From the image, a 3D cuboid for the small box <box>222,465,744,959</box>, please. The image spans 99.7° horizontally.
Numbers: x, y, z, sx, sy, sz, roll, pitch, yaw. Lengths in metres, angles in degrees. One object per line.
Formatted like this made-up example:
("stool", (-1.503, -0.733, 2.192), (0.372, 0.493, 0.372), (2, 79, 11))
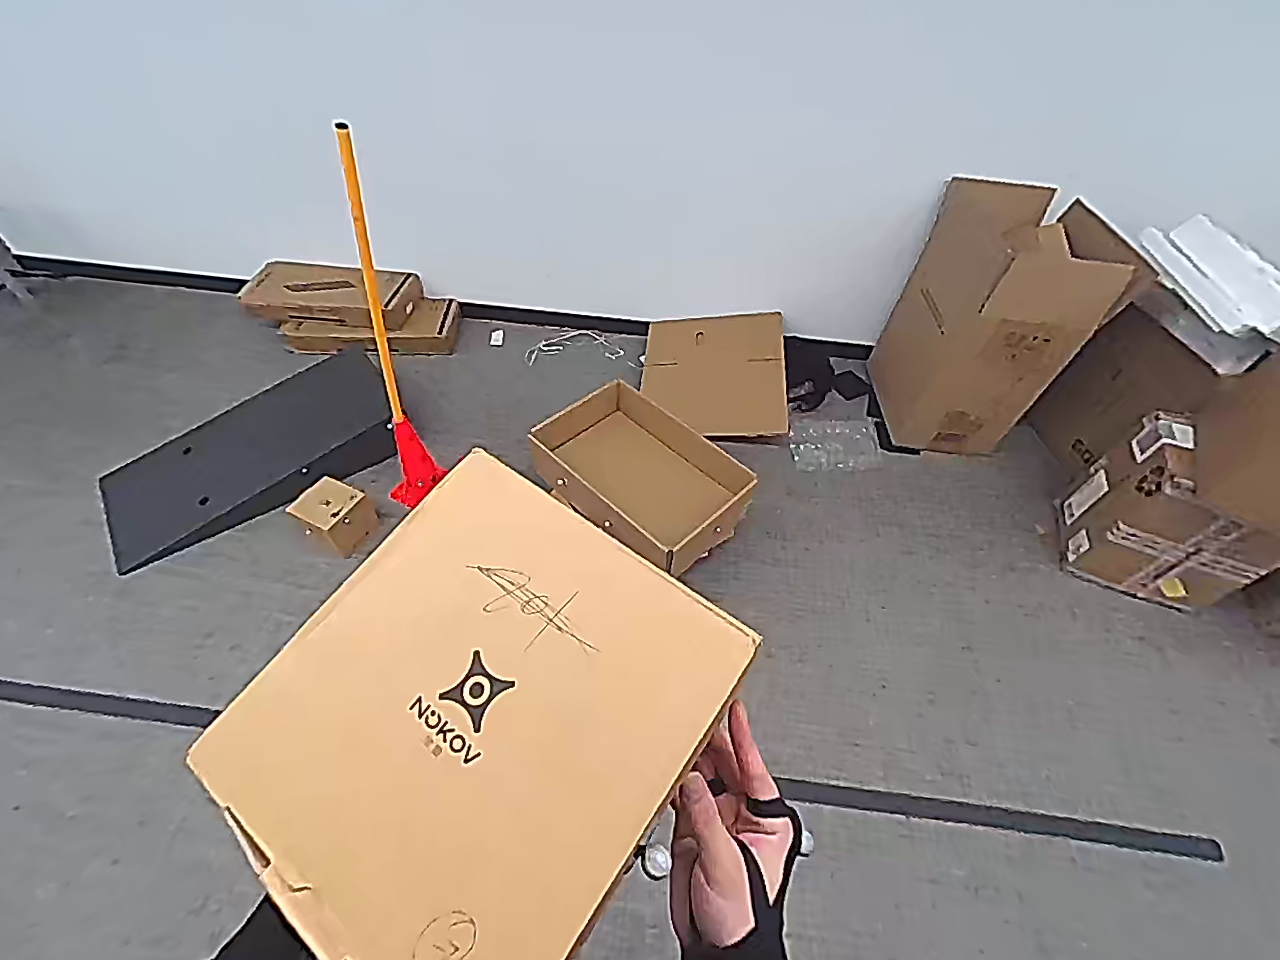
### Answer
("small box", (-0.059, 0.131, 0.302), (0.168, 0.176, 0.179), (31, 69, 20))
